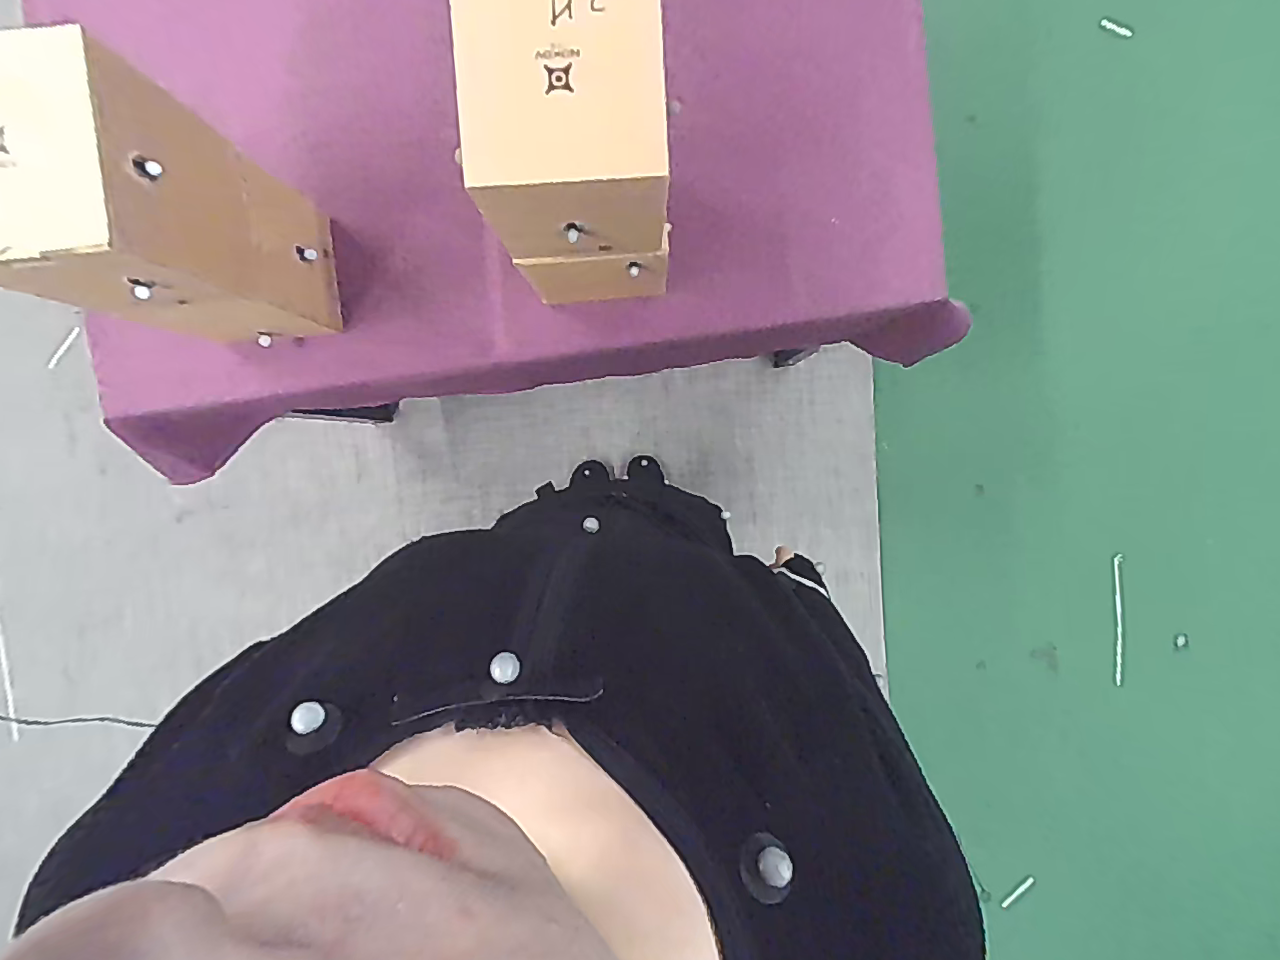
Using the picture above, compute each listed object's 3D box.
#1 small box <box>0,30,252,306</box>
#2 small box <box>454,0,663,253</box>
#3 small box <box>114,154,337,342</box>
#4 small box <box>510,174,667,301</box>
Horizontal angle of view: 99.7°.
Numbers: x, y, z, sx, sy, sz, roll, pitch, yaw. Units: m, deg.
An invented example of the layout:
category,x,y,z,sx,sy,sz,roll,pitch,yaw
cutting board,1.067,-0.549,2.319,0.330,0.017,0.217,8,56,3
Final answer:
category,x,y,z,sx,sy,sz,roll,pitch,yaw
small box,-0.510,-0.273,0.517,0.168,0.176,0.179,-4,93,1
small box,-0.062,-0.326,0.508,0.168,0.176,0.179,-2,93,0
small box,-0.509,-0.277,0.681,0.179,0.176,0.168,-5,93,0
small box,-0.060,-0.330,0.673,0.179,0.176,0.168,-4,93,1
